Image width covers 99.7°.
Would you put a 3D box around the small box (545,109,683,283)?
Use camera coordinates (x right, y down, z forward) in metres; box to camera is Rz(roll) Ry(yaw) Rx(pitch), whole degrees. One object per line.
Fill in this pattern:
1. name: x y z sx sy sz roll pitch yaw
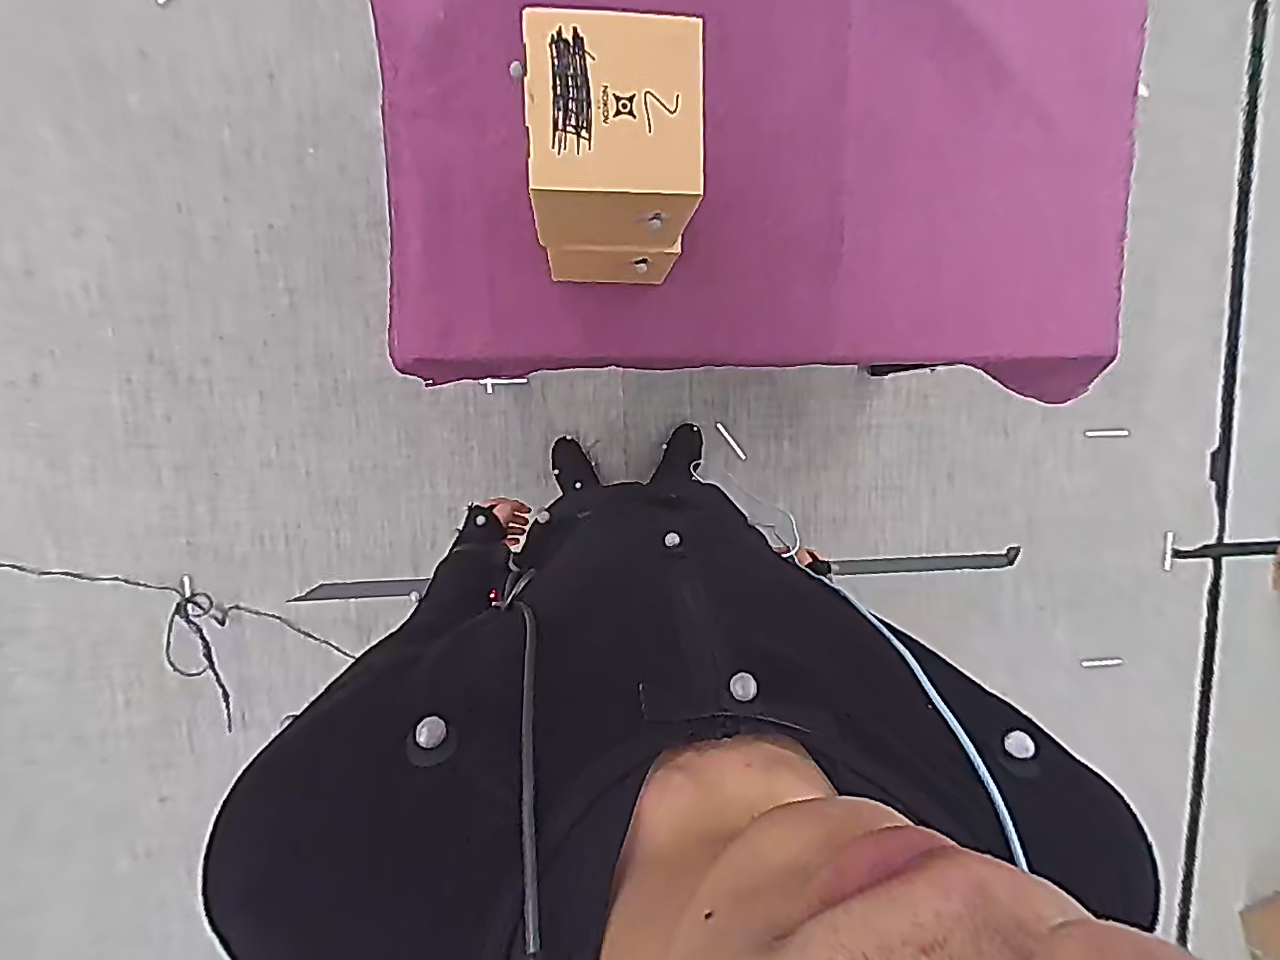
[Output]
1. small box: -0.043 -0.385 0.764 0.179 0.176 0.168 0 96 -7
